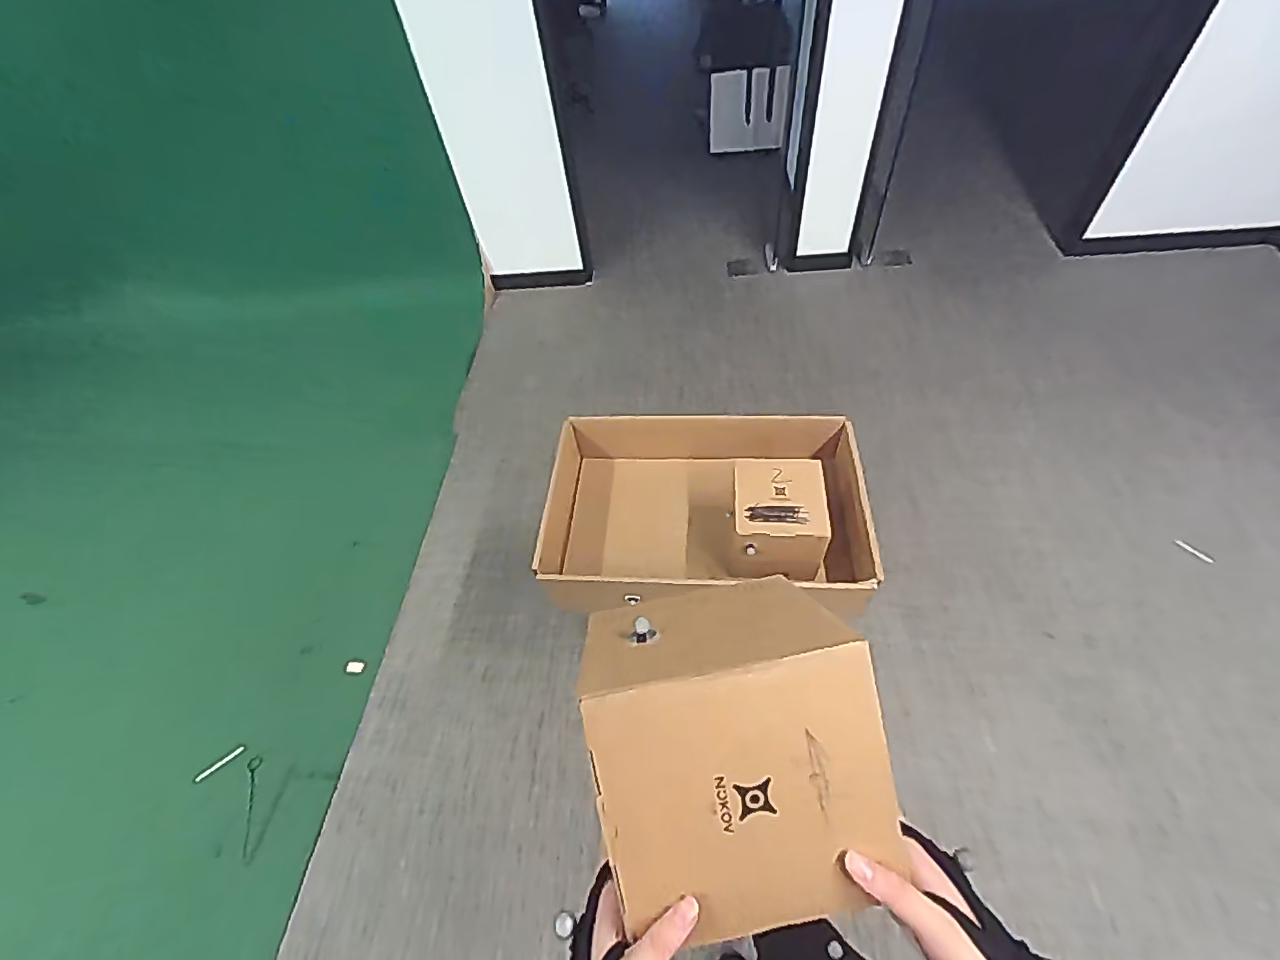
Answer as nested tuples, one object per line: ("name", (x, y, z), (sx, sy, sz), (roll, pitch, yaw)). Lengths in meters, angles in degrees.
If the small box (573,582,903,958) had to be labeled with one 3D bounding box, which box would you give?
("small box", (0.057, 0.185, 0.398), (0.179, 0.176, 0.168), (-11, 93, -2))
